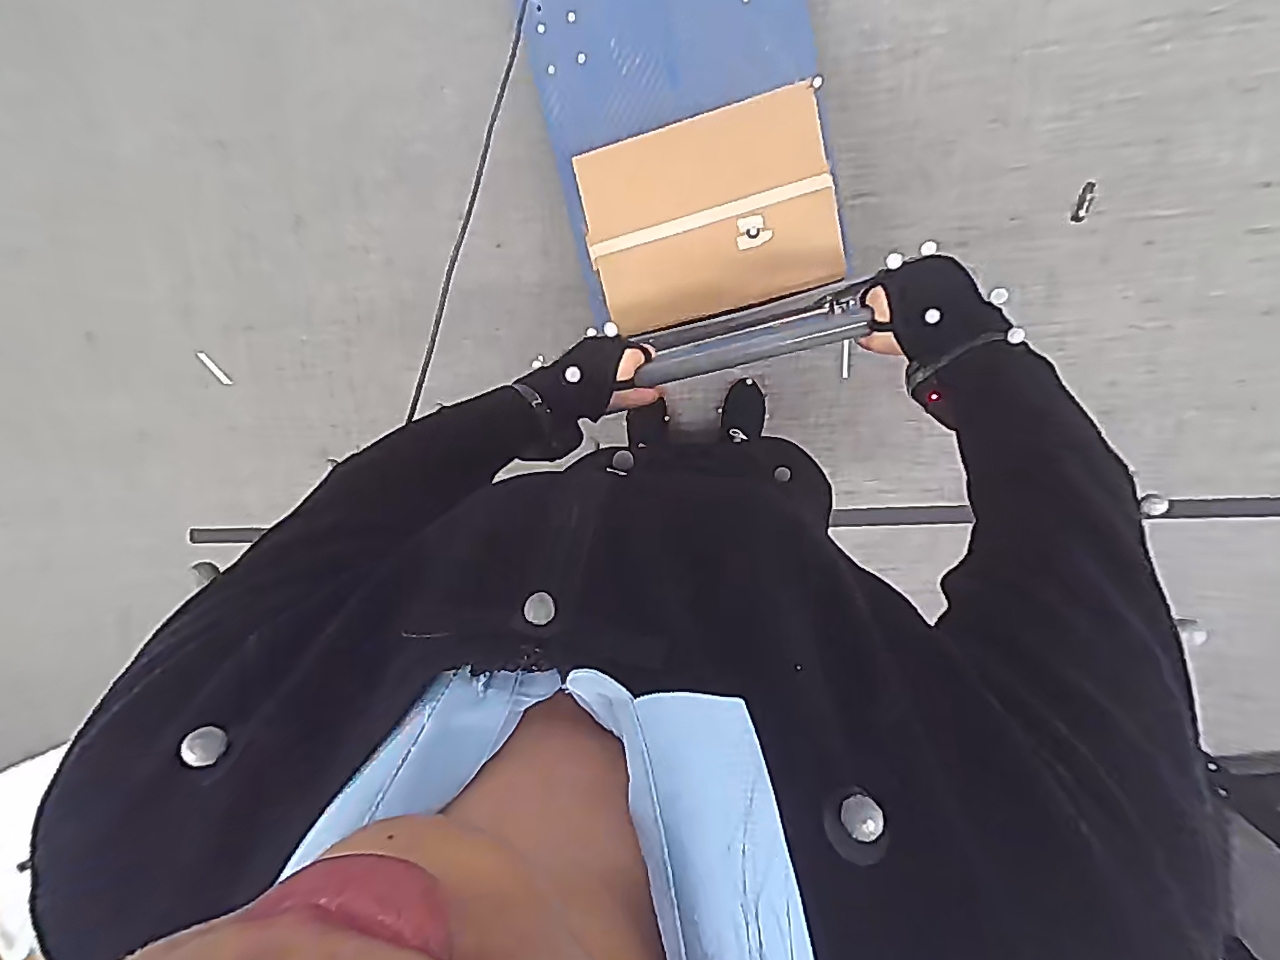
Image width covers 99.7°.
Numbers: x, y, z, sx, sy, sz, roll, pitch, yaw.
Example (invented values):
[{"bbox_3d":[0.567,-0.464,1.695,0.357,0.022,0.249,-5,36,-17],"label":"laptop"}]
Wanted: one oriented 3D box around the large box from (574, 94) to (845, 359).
[{"bbox_3d":[0.130,-0.442,1.045,0.408,0.320,0.320,-12,99,9],"label":"large box"}]
